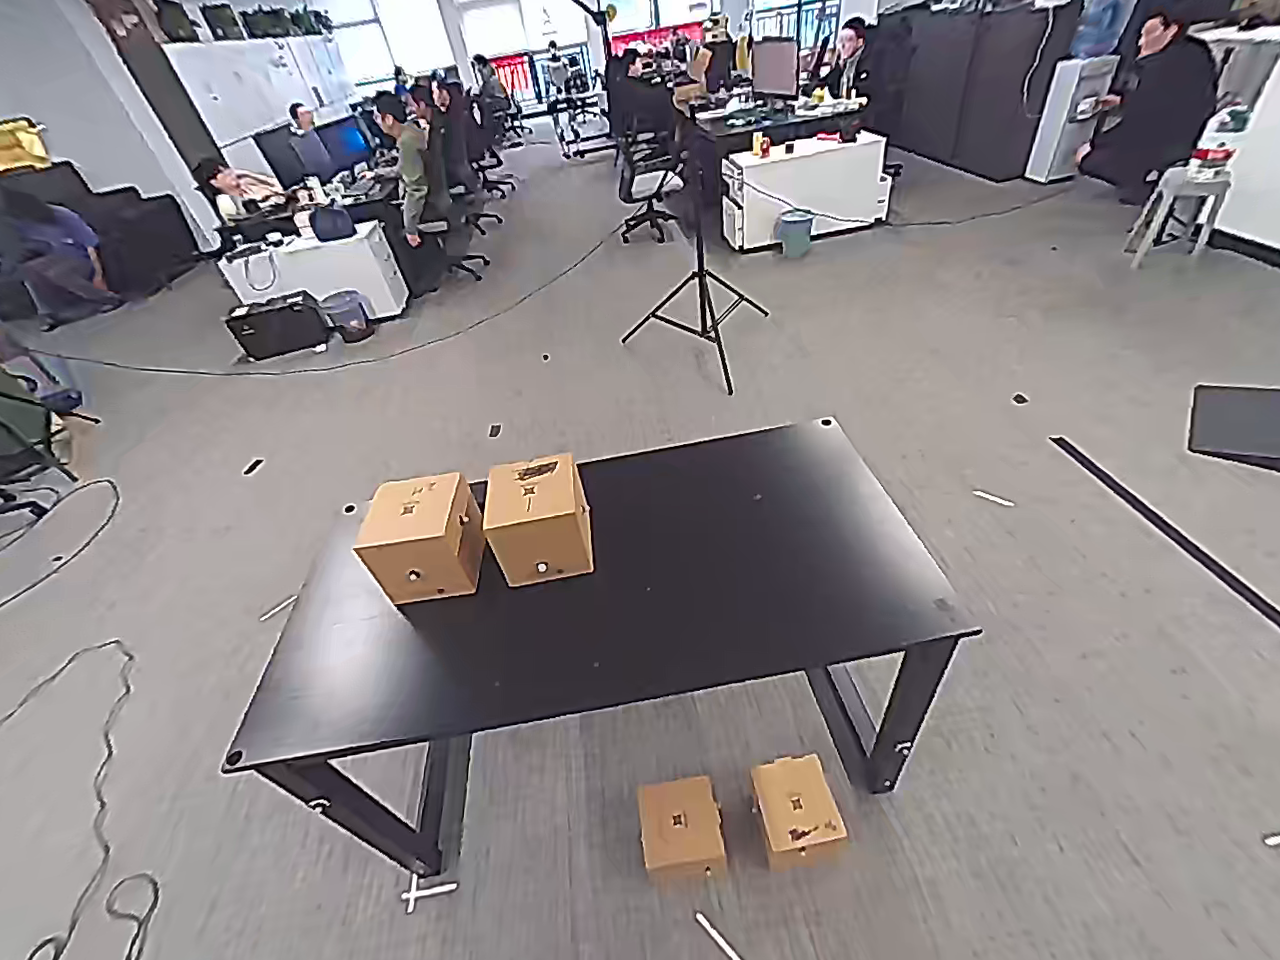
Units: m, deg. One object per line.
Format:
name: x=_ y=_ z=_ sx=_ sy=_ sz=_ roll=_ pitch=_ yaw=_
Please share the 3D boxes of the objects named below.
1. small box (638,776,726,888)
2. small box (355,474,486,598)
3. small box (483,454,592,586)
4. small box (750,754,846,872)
small box: x=0.099 y=0.821 z=1.260 sx=0.179 sy=0.176 sz=0.168 roll=-12 pitch=40 yaw=0
small box: x=-0.414 y=0.115 z=1.055 sx=0.168 sy=0.176 sz=0.179 roll=-8 pitch=41 yaw=2
small box: x=-0.193 y=0.078 z=1.050 sx=0.168 sy=0.176 sz=0.179 roll=-11 pitch=42 yaw=-1
small box: x=0.358 y=0.773 z=1.256 sx=0.168 sy=0.176 sz=0.179 roll=-12 pitch=40 yaw=0
